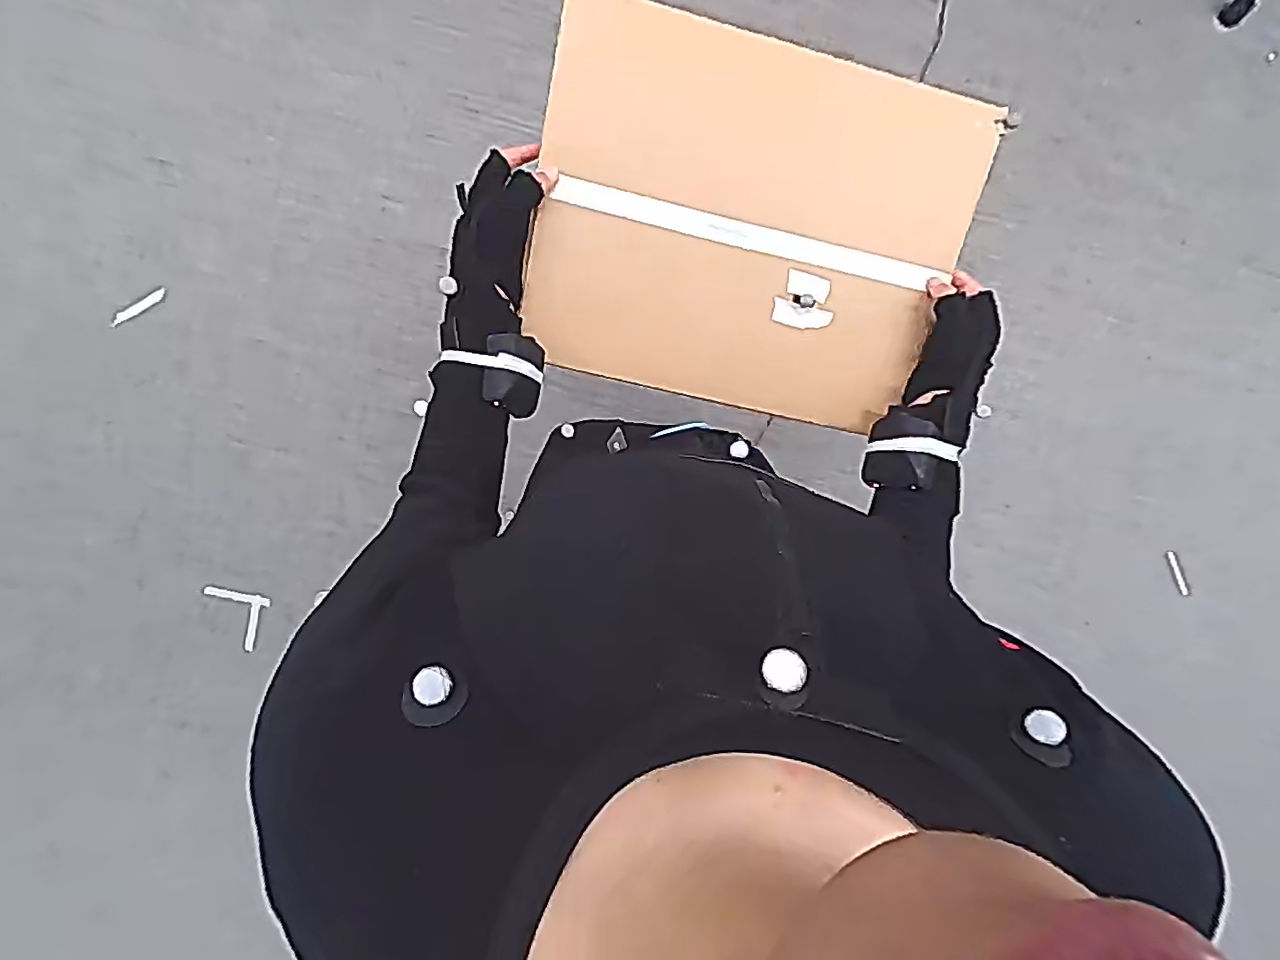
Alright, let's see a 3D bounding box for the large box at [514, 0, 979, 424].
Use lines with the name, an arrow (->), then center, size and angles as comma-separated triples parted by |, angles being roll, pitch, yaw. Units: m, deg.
large box -> 0.086, -0.277, 0.665 | 0.408, 0.320, 0.320 | 11, 106, -7
